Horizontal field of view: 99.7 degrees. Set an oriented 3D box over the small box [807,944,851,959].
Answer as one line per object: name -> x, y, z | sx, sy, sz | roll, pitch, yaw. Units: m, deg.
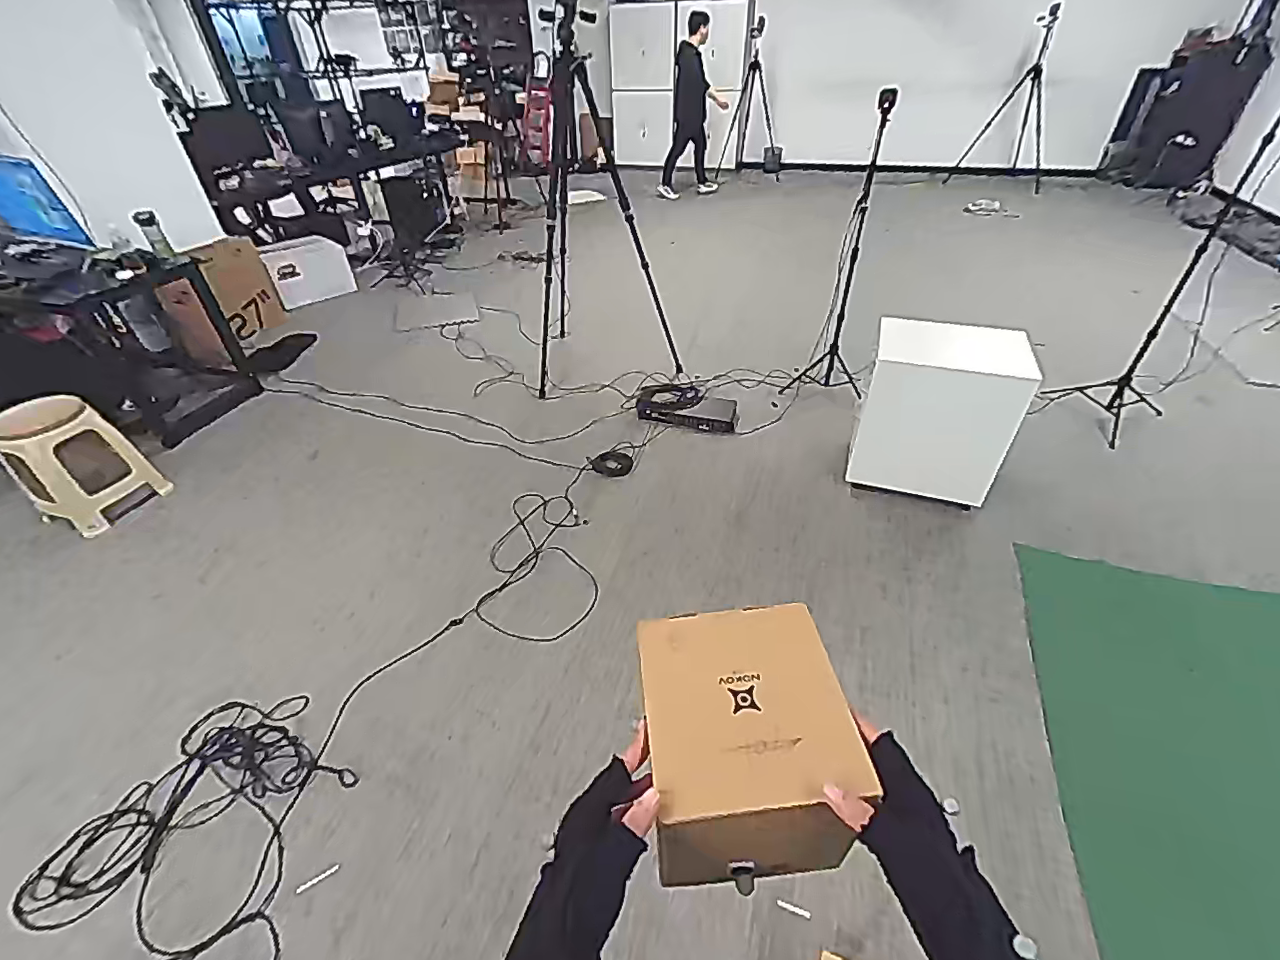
small box -> 0.375, 1.011, 0.991 | 0.168, 0.176, 0.179 | 16, 43, 20
